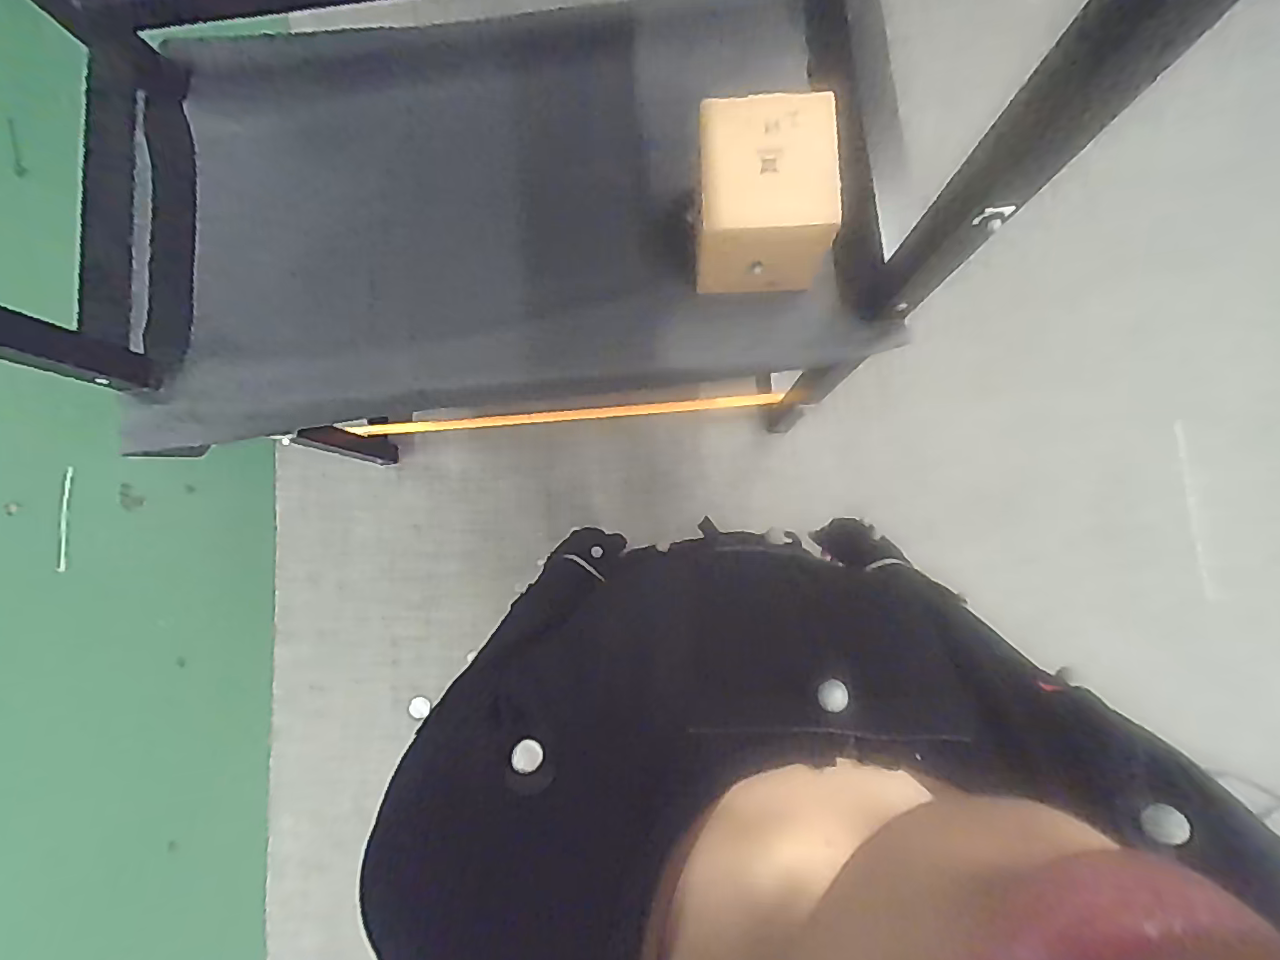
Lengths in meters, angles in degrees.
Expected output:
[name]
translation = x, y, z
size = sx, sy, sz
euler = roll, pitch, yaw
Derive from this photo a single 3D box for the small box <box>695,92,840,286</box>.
[small box]
translation = 0.162, -0.377, 0.733
size = 0.168, 0.176, 0.179
euler = -1, 83, 3
